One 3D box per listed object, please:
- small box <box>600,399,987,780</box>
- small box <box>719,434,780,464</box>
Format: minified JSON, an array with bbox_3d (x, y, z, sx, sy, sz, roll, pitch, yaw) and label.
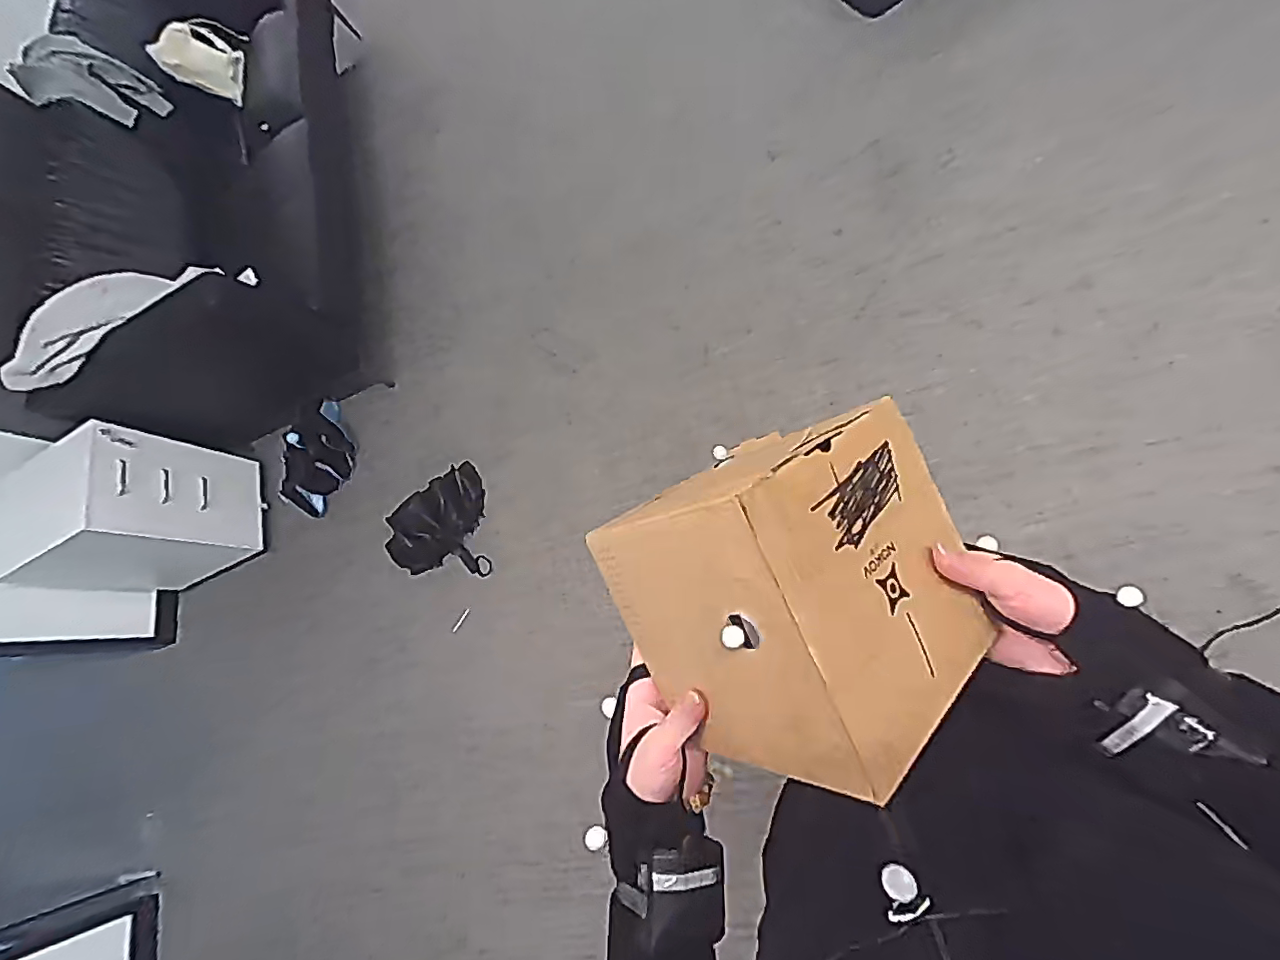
[{"bbox_3d":[0.098,0.069,0.386,0.176,0.168,0.179,-22,94,56],"label":"small box"},{"bbox_3d":[0.327,0.005,1.436,0.168,0.176,0.179,-22,70,18],"label":"small box"}]
